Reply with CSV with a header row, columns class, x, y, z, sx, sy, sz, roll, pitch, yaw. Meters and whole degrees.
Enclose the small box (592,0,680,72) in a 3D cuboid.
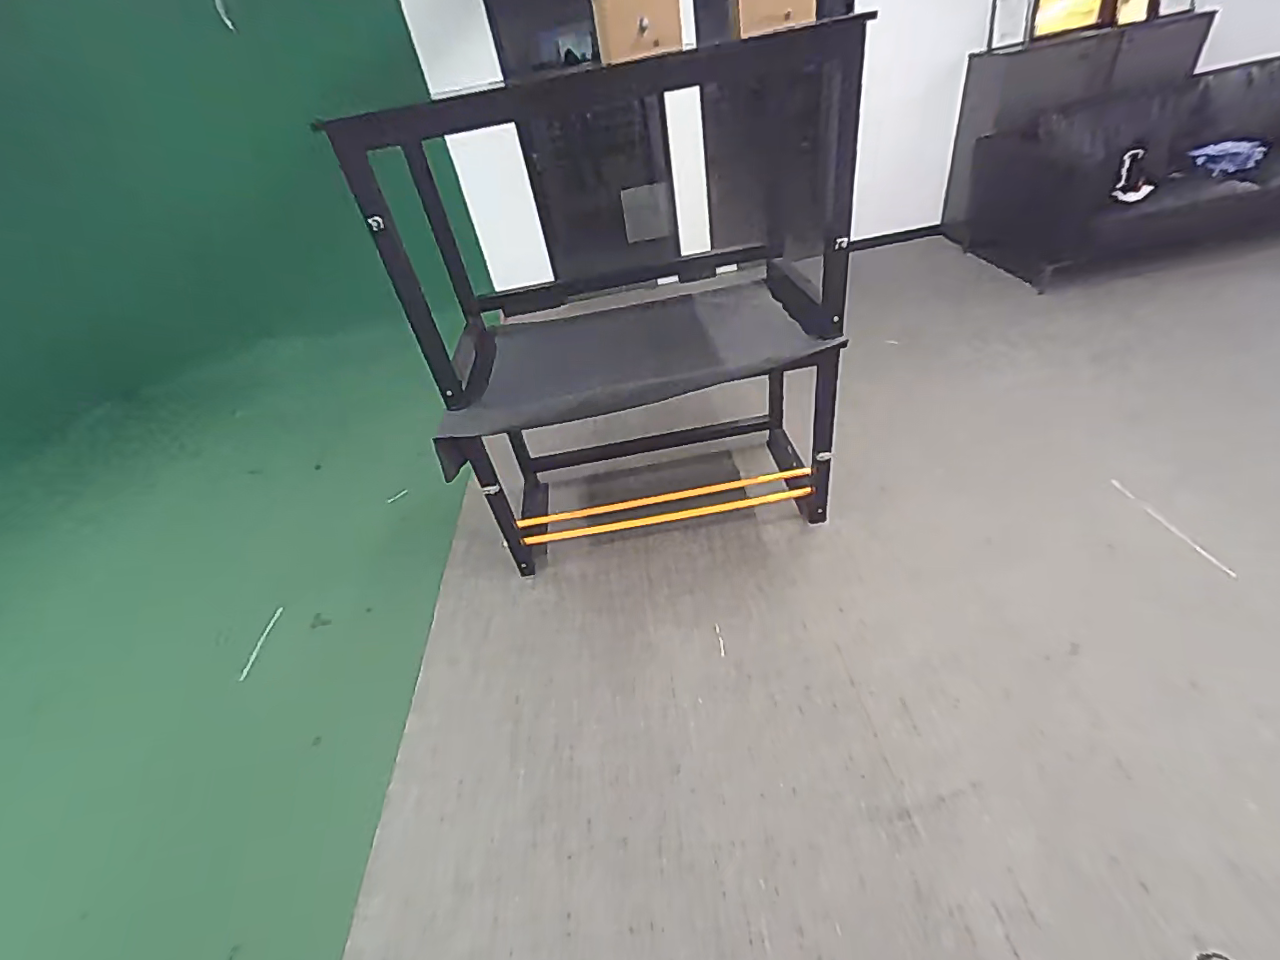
class,x,y,z,sx,sy,sz,roll,pitch,yaw
small box,-0.013,-1.045,1.229,0.168,0.176,0.179,-14,38,-3
